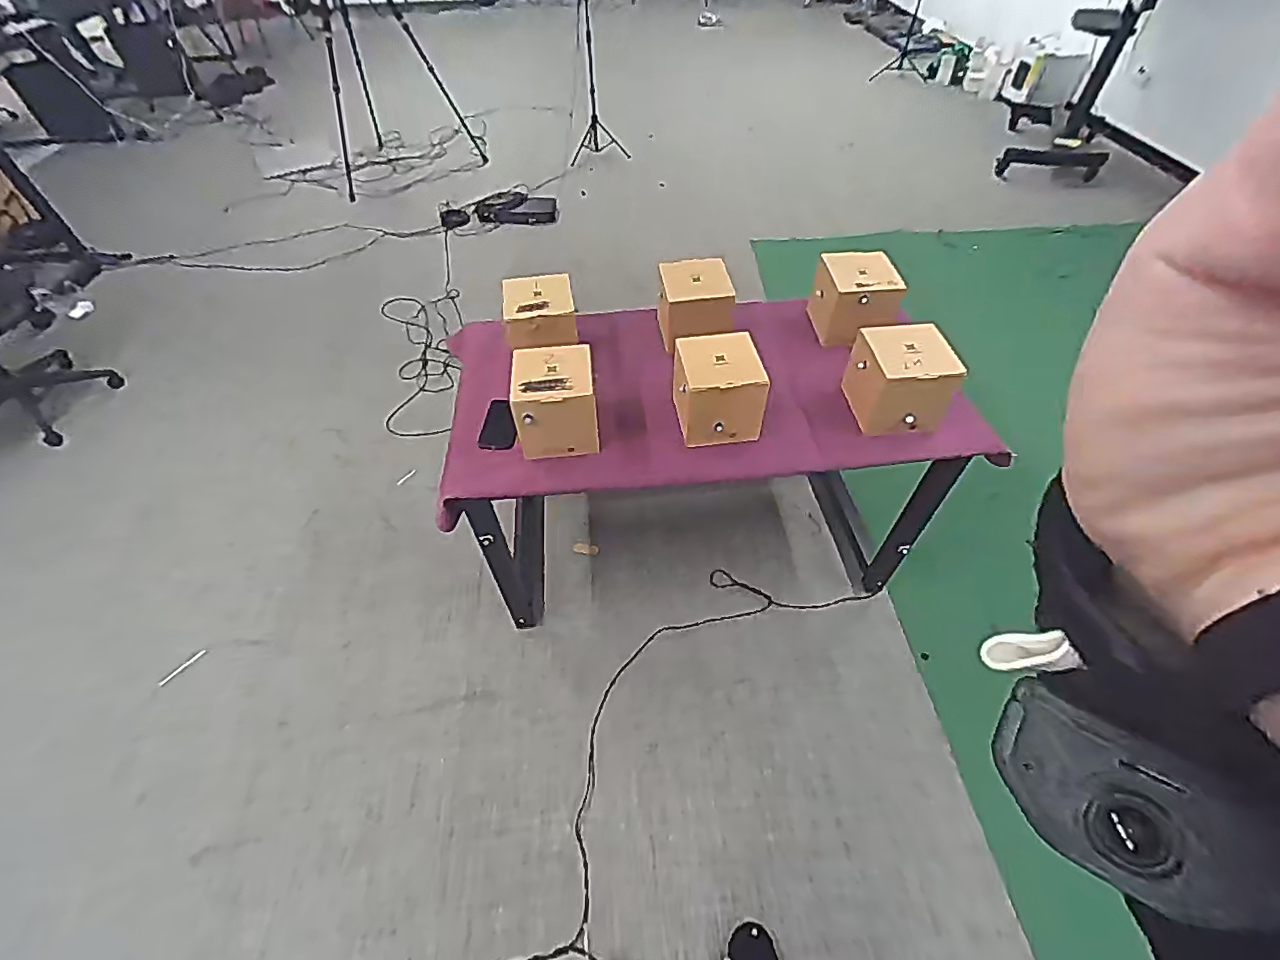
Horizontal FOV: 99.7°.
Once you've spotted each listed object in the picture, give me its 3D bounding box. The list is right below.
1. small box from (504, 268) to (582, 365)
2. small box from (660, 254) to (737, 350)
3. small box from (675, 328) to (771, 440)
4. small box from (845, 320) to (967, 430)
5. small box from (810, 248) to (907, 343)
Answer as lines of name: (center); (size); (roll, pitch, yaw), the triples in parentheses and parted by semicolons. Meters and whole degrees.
small box: (-0.240, -0.402, 1.353); (0.168, 0.176, 0.179); (-8, 51, -6)
small box: (0.143, -0.457, 1.392); (0.168, 0.176, 0.179); (-6, 52, -3)
small box: (0.172, -0.211, 1.193); (0.168, 0.176, 0.179); (-6, 51, -4)
small box: (0.573, -0.231, 1.195); (0.168, 0.176, 0.179); (-4, 51, 0)
small box: (0.553, -0.476, 1.397); (0.168, 0.176, 0.179); (-3, 51, 0)
